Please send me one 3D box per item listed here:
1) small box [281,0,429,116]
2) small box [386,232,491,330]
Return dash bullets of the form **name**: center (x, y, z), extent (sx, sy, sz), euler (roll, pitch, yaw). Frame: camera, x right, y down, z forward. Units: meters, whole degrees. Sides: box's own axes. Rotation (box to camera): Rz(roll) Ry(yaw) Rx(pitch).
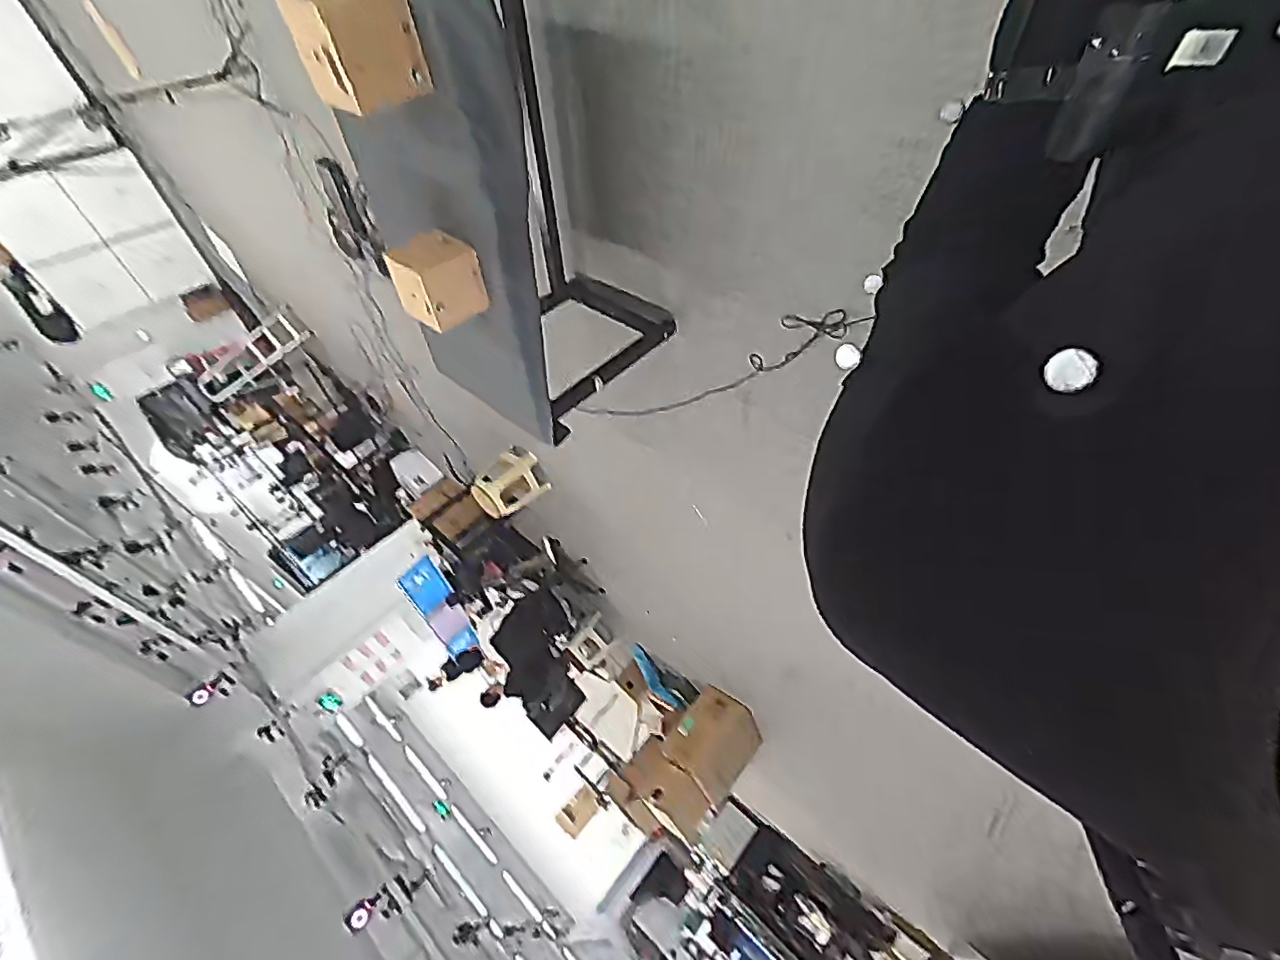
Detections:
- **small box**: center (-0.532, -0.836, 1.039), extent (0.179, 0.176, 0.168), euler (35, 152, 27)
- **small box**: center (-0.522, -0.529, 1.422), extent (0.179, 0.176, 0.168), euler (34, 149, 27)
